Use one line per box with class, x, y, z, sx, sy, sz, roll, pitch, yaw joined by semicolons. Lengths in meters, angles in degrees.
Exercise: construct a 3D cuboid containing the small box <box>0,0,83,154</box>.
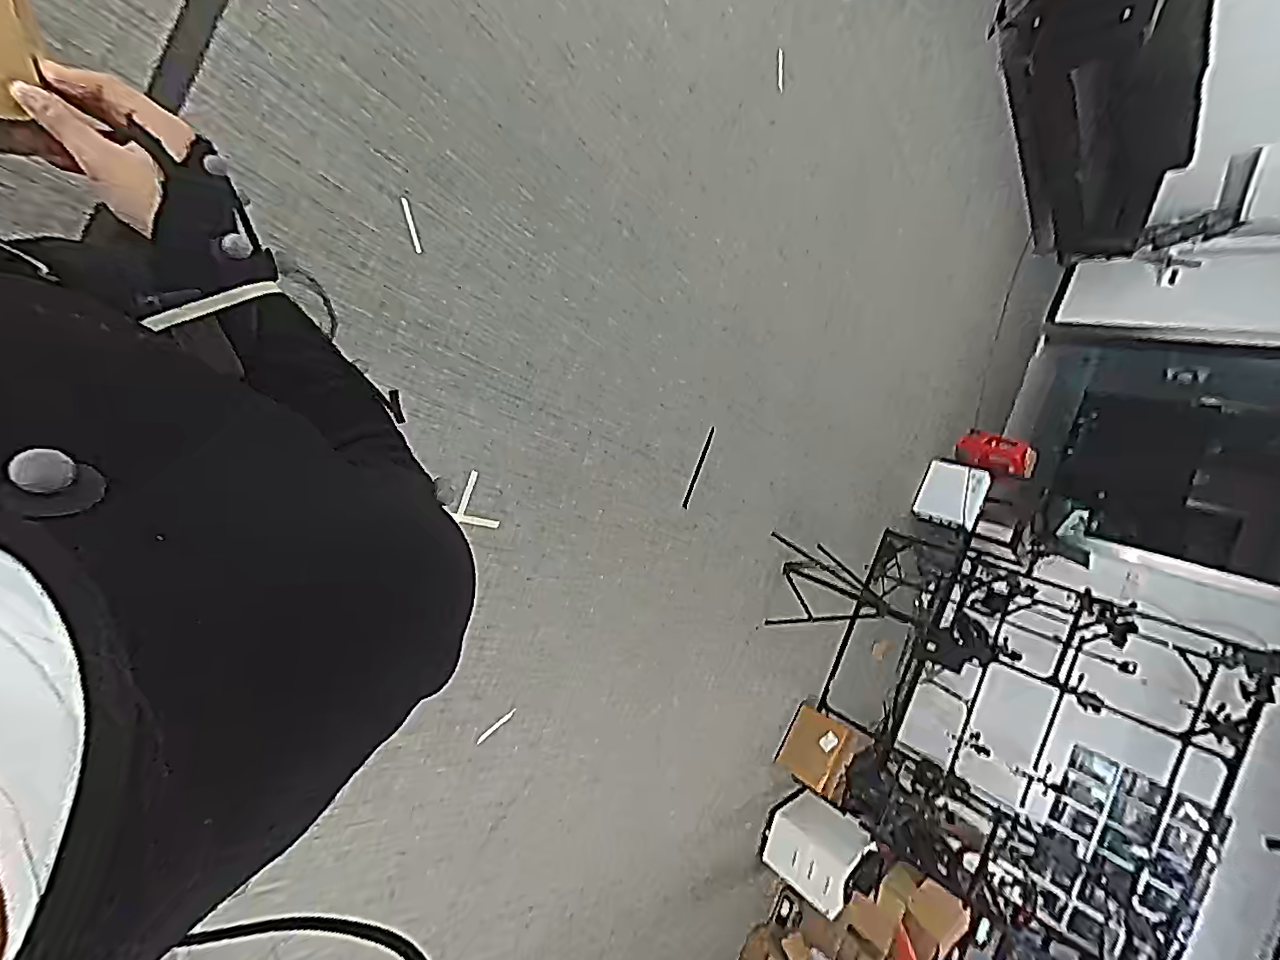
small box;-0.450;-0.298;0.297;0.168;0.176;0.179;-16;119;-37
